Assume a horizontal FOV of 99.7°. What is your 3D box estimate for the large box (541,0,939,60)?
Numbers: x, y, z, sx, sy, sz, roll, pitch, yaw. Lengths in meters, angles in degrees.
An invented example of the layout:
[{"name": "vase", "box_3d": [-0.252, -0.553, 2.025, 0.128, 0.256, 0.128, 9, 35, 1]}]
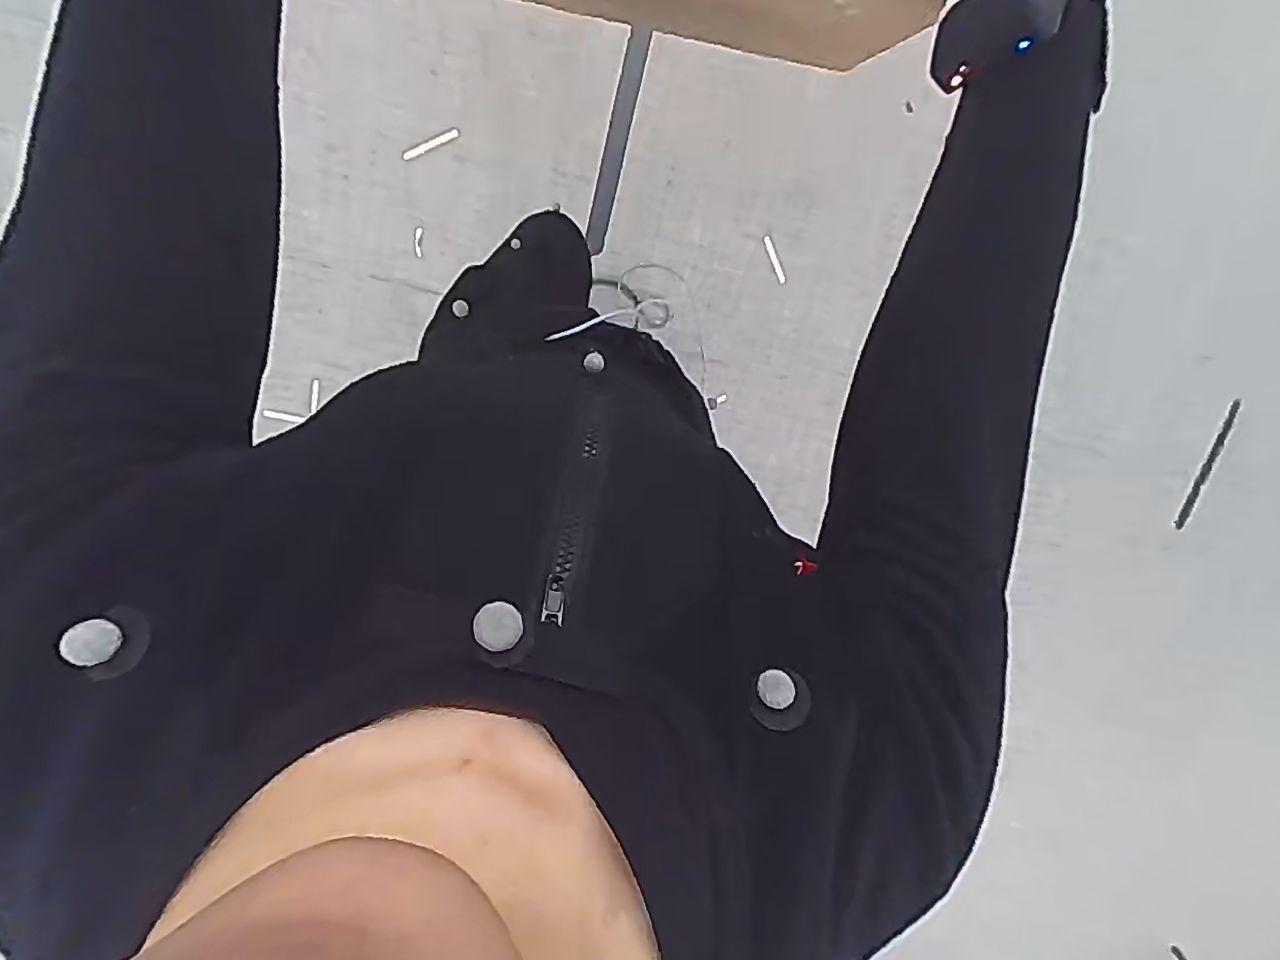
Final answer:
[{"name": "large box", "box_3d": [0.056, -0.555, 0.393, 0.408, 0.320, 0.320, 10, 121, -3]}]
